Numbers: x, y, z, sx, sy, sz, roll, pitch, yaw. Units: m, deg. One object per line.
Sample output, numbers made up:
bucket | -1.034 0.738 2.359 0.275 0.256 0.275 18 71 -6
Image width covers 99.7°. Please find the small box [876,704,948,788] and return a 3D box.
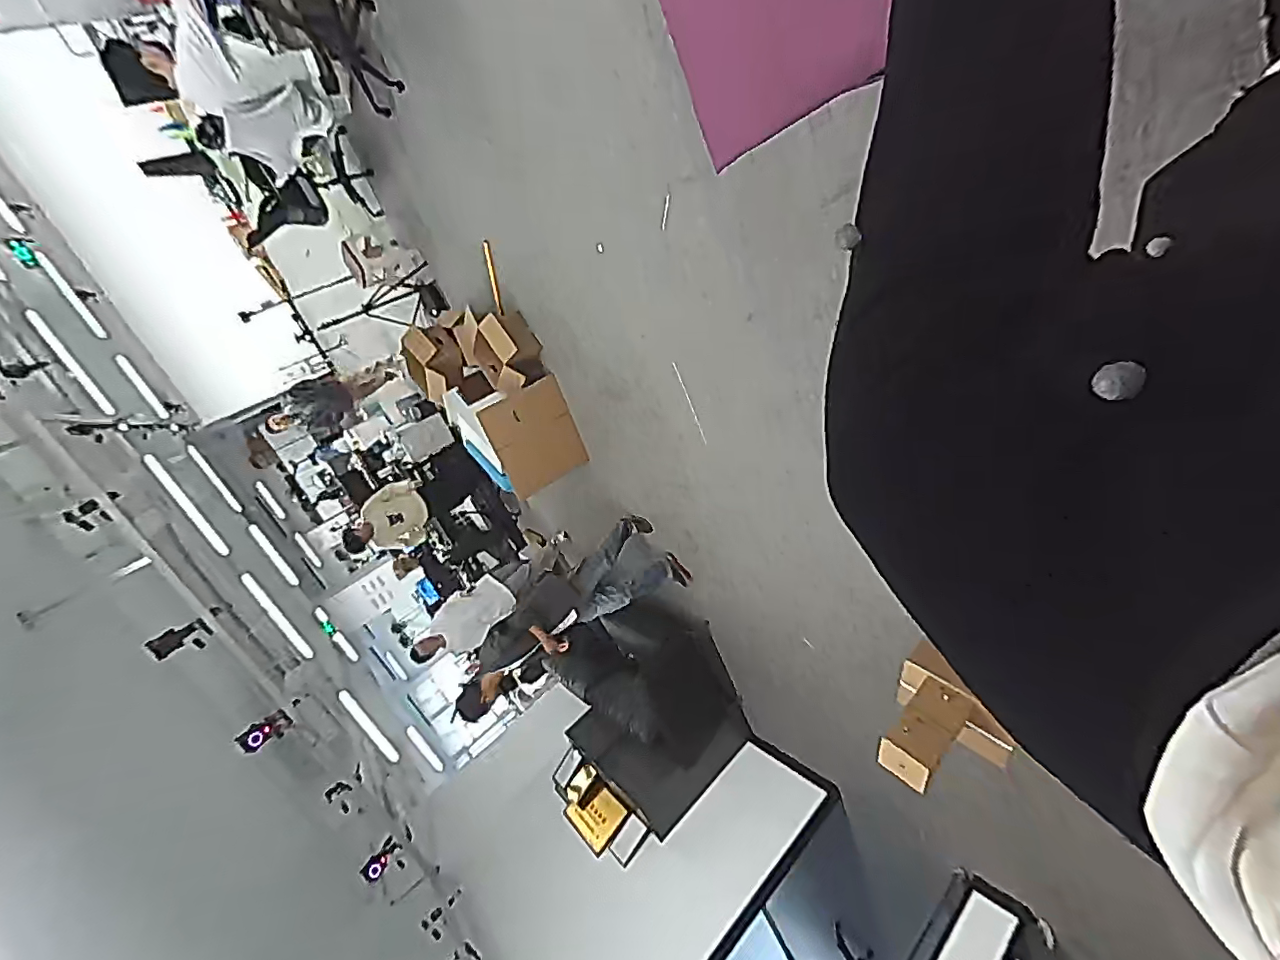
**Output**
small box | 0.963 0.935 1.914 0.168 0.176 0.179 29 143 42

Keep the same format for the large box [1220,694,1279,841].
large box | 1.767 0.729 1.287 0.320 0.320 0.408 49 152 8

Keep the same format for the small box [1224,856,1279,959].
small box | 1.441 0.959 1.165 0.168 0.176 0.179 52 153 4

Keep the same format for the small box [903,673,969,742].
small box | 1.082 0.857 1.995 0.168 0.176 0.179 30 142 40
